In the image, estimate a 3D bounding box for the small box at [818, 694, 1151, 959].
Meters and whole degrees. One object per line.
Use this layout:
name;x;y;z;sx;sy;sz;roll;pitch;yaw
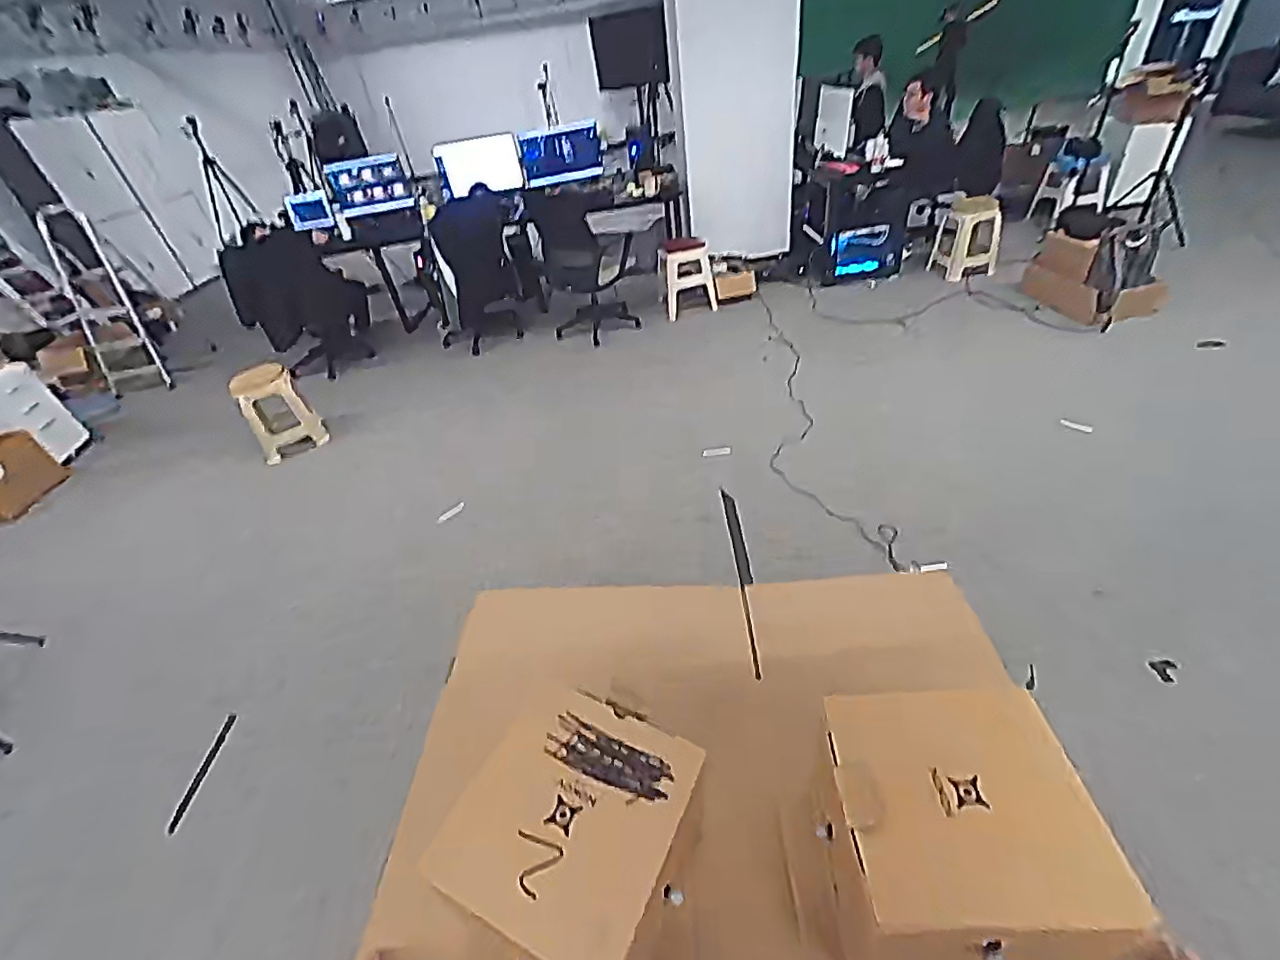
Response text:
small box;0.264;0.309;0.472;0.179;0.176;0.168;-6;37;7
